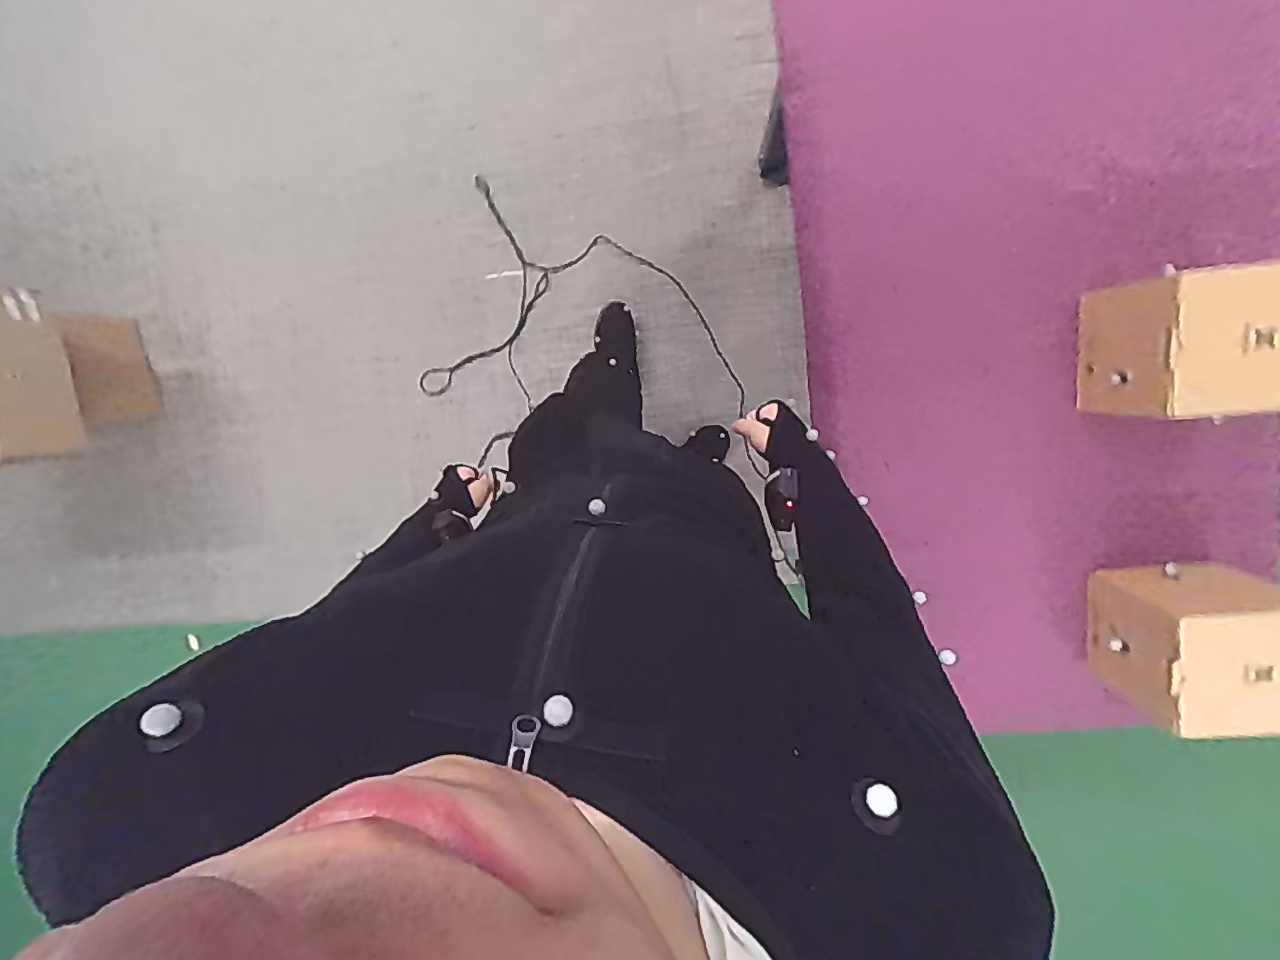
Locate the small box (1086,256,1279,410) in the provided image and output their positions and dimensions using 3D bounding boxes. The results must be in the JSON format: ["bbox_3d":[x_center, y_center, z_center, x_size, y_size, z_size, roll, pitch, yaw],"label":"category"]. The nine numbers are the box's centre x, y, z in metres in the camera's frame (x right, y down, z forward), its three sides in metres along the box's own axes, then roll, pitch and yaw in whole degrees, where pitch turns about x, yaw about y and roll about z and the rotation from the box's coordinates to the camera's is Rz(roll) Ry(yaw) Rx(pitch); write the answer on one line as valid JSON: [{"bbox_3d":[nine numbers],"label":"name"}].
[{"bbox_3d":[0.707,-0.178,0.677,0.179,0.176,0.168,-4,101,8],"label":"small box"}]

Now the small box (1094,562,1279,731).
[{"bbox_3d":[0.771,0.220,0.743,0.179,0.176,0.168,-6,100,9],"label":"small box"}]
